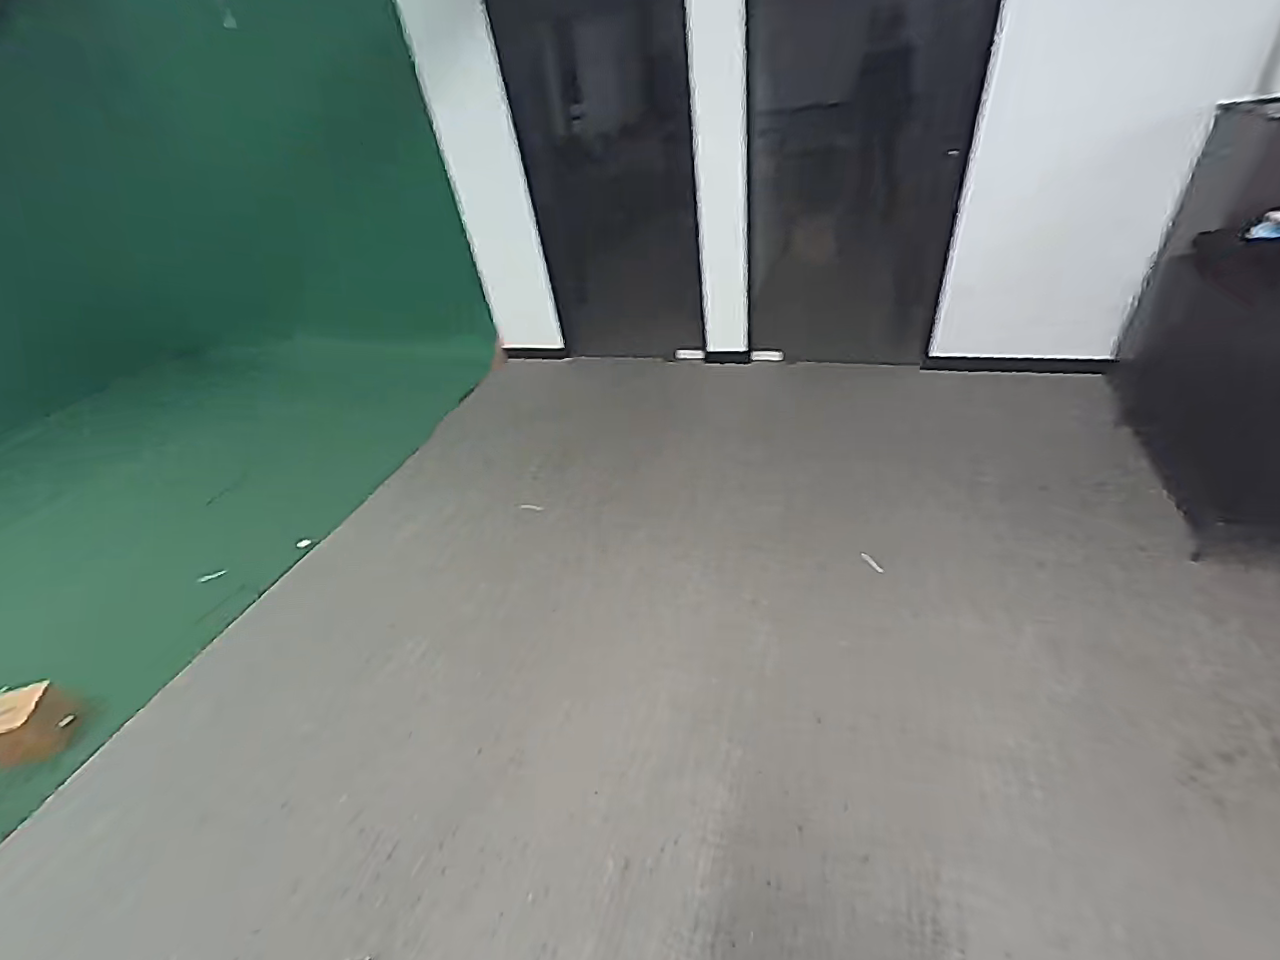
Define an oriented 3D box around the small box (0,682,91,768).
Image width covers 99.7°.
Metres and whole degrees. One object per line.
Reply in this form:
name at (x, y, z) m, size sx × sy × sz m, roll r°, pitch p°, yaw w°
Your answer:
small box at (-1.968, 0.798, 1.752) m, size 0.179 × 0.176 × 0.168 m, roll -17°, pitch 38°, yaw -11°
